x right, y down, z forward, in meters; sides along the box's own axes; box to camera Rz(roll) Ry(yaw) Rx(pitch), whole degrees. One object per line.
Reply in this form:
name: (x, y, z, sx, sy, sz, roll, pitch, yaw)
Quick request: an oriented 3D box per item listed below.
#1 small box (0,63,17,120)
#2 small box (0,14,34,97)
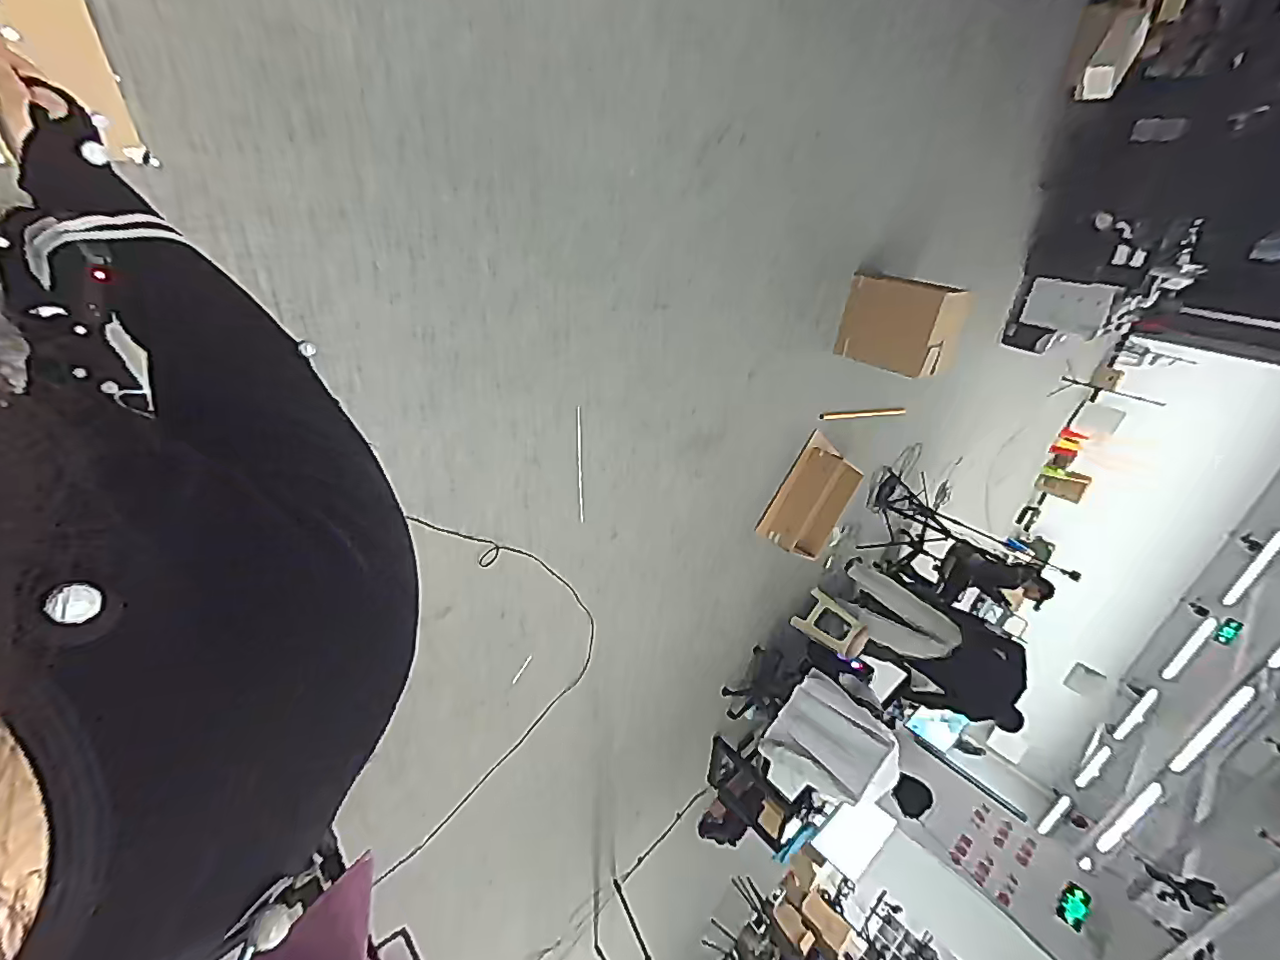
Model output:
small box: (-0.546, -0.334, 0.332, 0.168, 0.176, 0.179, -20, 128, -34)
small box: (-0.763, -0.483, 0.535, 0.179, 0.176, 0.168, -24, 131, -32)
